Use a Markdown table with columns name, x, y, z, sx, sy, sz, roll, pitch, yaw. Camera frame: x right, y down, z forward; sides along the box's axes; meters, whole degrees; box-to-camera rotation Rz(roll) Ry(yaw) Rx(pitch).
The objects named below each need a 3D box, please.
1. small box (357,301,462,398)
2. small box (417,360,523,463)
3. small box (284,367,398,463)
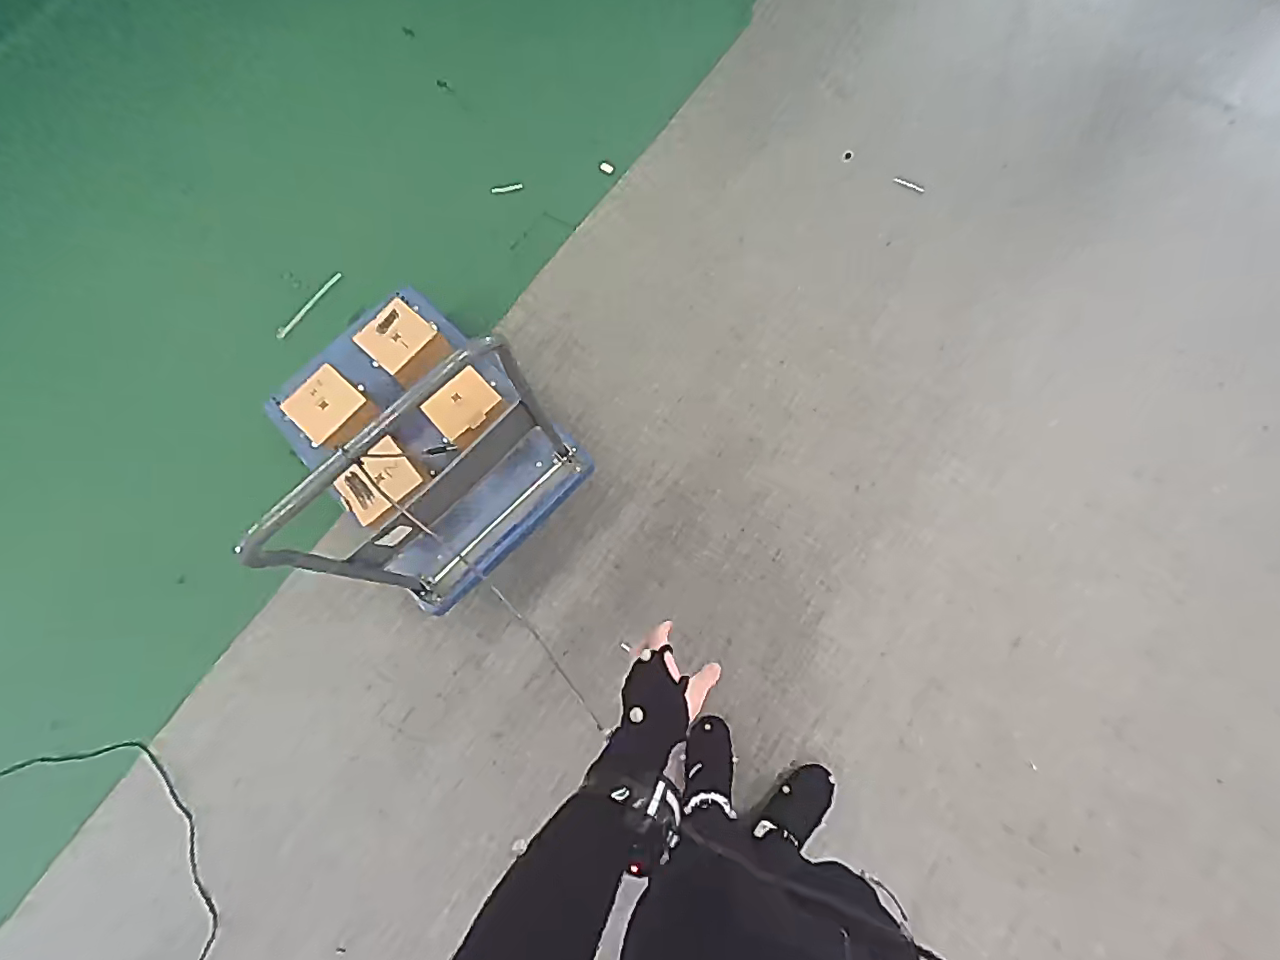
| name | x | y | z | sx | sy | sz | roll | pitch | yaw |
| --- | --- | --- | --- | --- | --- | --- | --- | --- | --- |
| small box | -0.630 | -0.350 | 1.498 | 0.179 | 0.176 | 0.168 | 40 | 81 | 15 |
| small box | -0.441 | -0.172 | 1.422 | 0.168 | 0.176 | 0.179 | -43 | 73 | -8 |
| small box | -0.796 | -0.165 | 1.459 | 0.179 | 0.176 | 0.168 | 40 | 80 | 16 |
